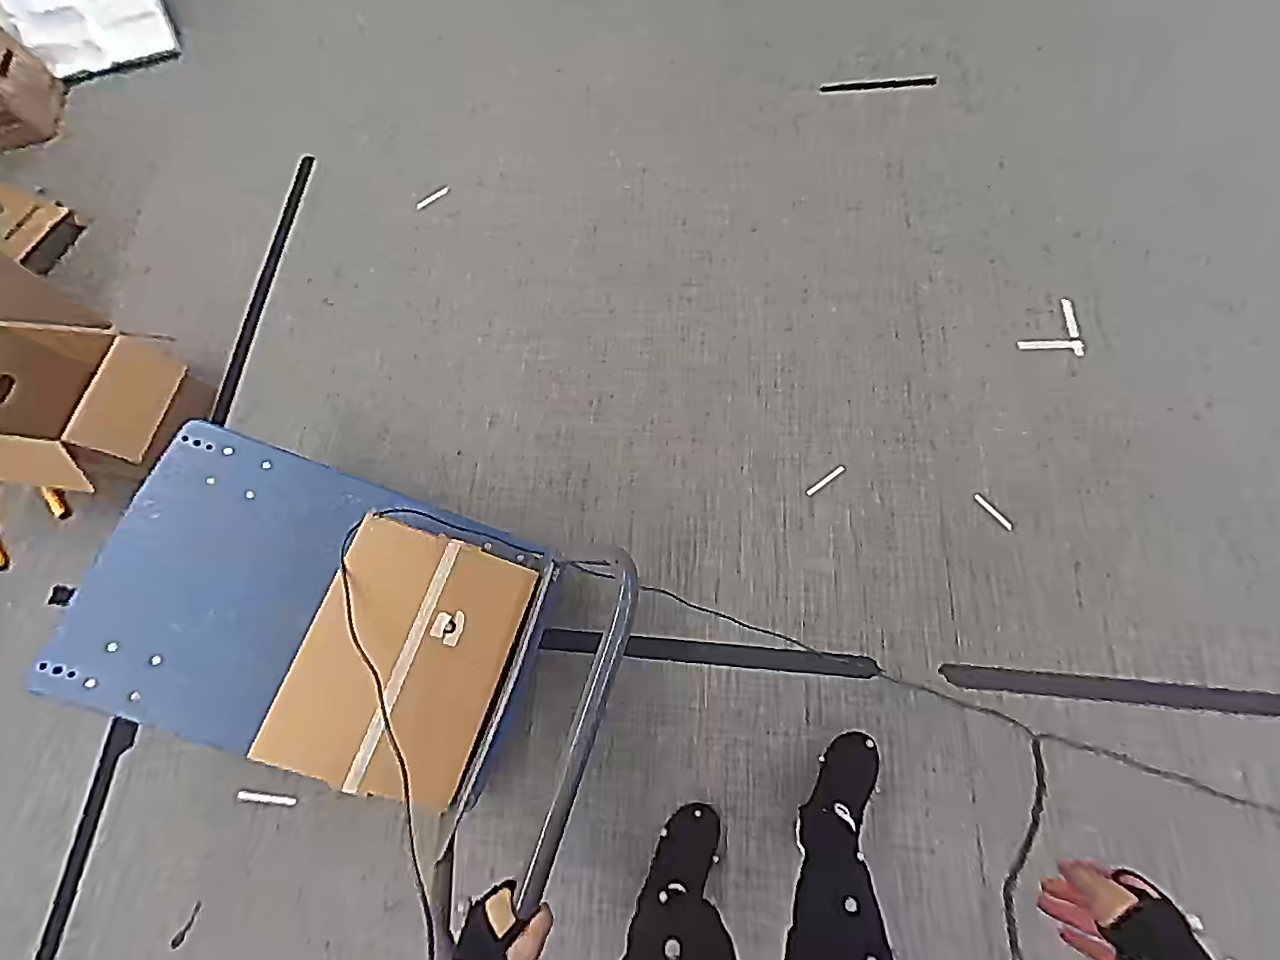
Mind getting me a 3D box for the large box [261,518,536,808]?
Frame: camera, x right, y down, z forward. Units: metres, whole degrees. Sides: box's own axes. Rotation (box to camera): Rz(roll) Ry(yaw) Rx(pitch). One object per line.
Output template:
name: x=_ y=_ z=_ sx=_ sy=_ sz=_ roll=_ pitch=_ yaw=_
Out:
large box: x=-0.420 y=0.332 z=1.040 sx=0.320 sy=0.320 sz=0.408 roll=21 pitch=72 yaw=-10
